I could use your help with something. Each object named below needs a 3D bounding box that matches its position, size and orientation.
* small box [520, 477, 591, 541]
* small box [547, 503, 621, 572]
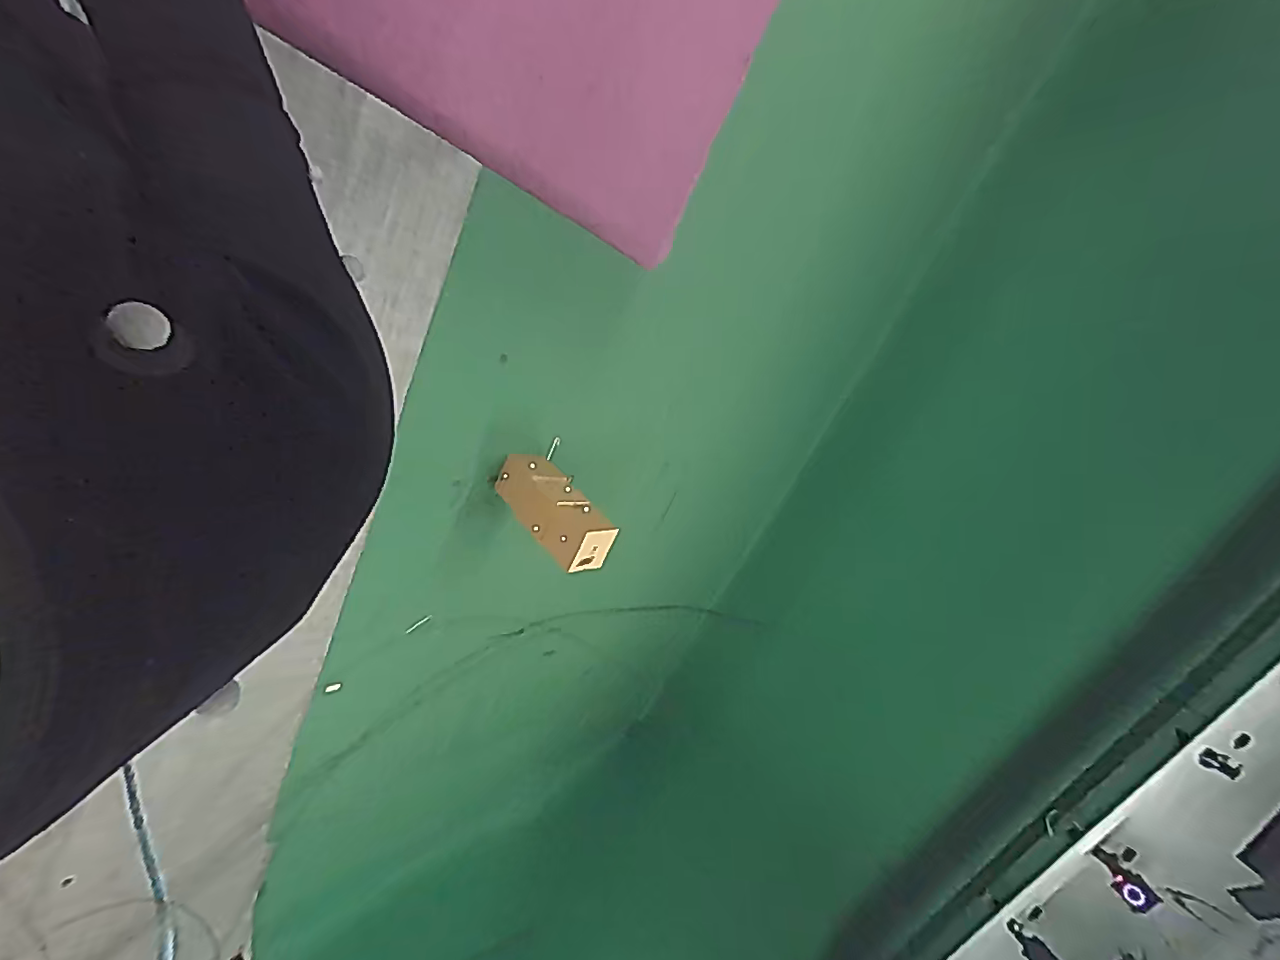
[{"bbox_3d":[-0.317,0.102,1.996,0.168,0.176,0.179,2,122,-51],"label":"small box"},{"bbox_3d":[-0.205,0.199,1.918,0.168,0.176,0.179,3,122,-54],"label":"small box"}]
